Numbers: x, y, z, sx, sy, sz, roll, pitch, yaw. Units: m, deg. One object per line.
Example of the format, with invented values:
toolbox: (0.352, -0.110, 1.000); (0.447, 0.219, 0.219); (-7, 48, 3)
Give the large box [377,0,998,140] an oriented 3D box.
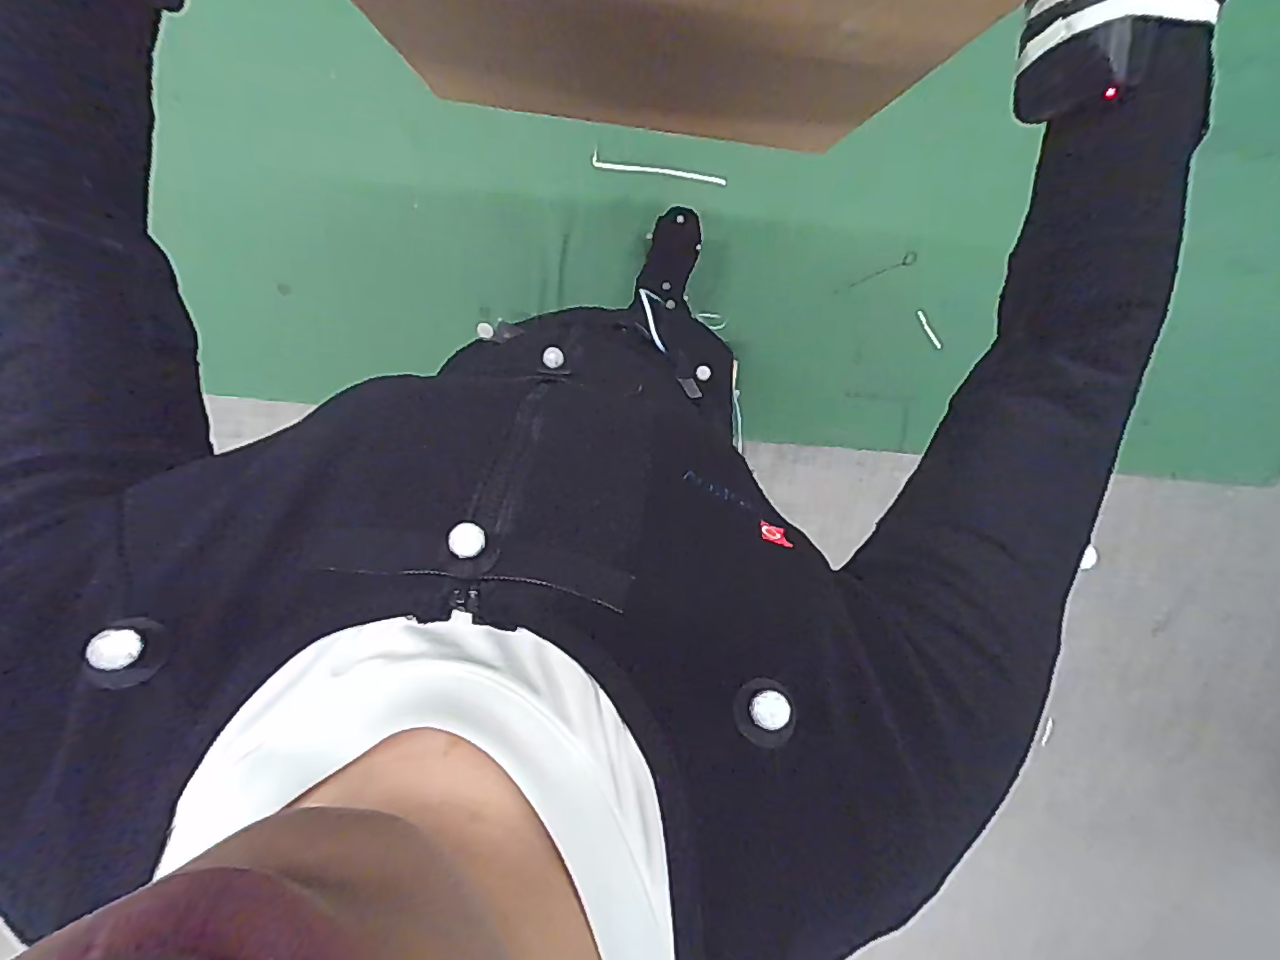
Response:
large box: (0.022, -0.469, 0.369); (0.408, 0.320, 0.320); (5, 108, -5)
